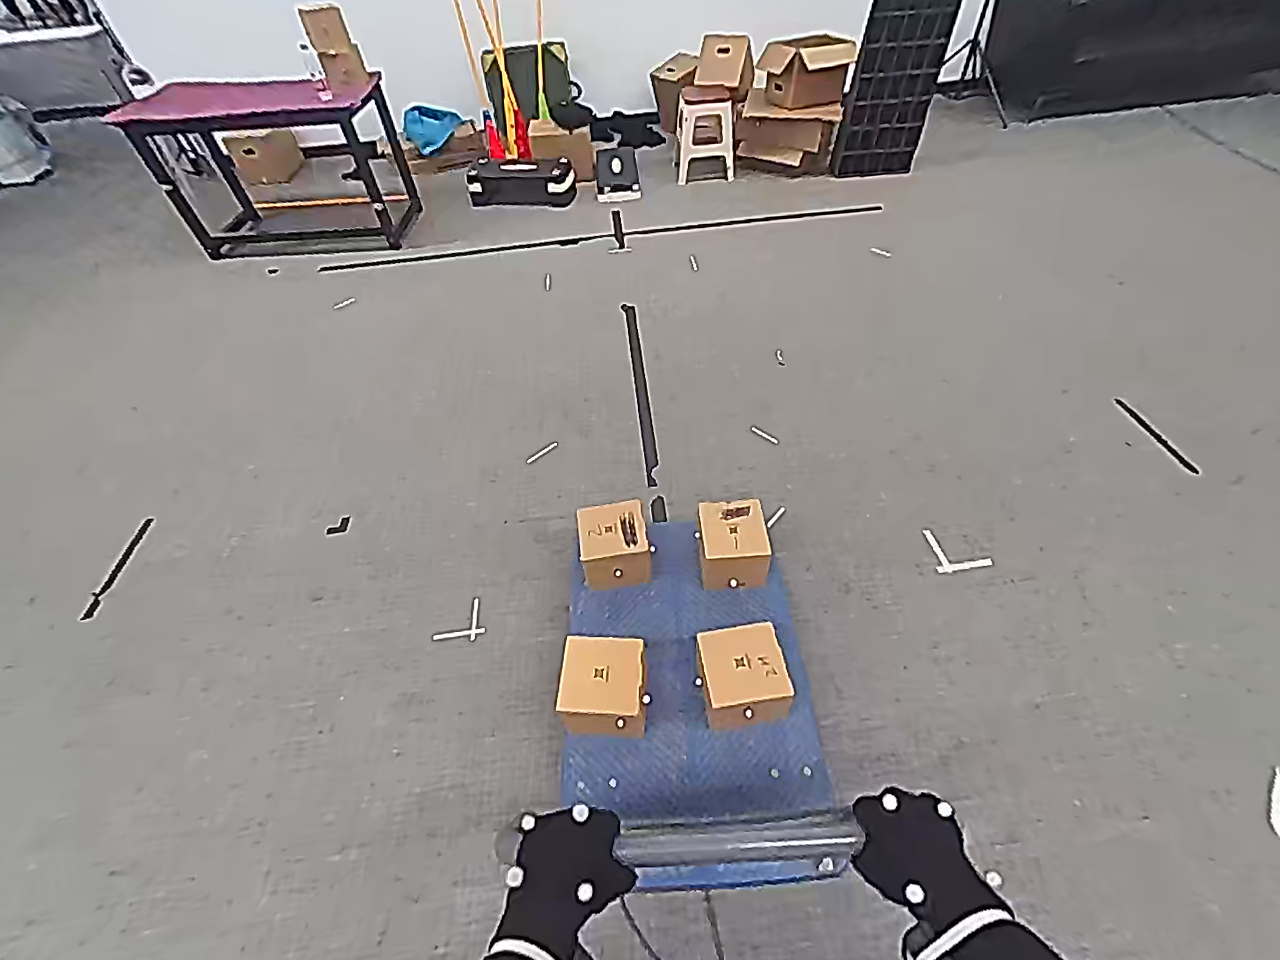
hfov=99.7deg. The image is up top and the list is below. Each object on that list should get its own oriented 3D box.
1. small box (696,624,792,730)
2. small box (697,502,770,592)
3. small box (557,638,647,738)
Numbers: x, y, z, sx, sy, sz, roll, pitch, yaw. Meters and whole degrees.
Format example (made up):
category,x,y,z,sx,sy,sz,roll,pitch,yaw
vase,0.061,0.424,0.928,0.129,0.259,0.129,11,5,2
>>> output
category,x,y,z,sx,sy,sz,roll,pitch,yaw
small box,0.227,0.450,1.226,0.179,0.176,0.168,-8,50,-2
small box,0.243,0.182,1.453,0.168,0.176,0.179,-4,51,1
small box,-0.079,0.476,1.231,0.179,0.176,0.168,1,49,4
